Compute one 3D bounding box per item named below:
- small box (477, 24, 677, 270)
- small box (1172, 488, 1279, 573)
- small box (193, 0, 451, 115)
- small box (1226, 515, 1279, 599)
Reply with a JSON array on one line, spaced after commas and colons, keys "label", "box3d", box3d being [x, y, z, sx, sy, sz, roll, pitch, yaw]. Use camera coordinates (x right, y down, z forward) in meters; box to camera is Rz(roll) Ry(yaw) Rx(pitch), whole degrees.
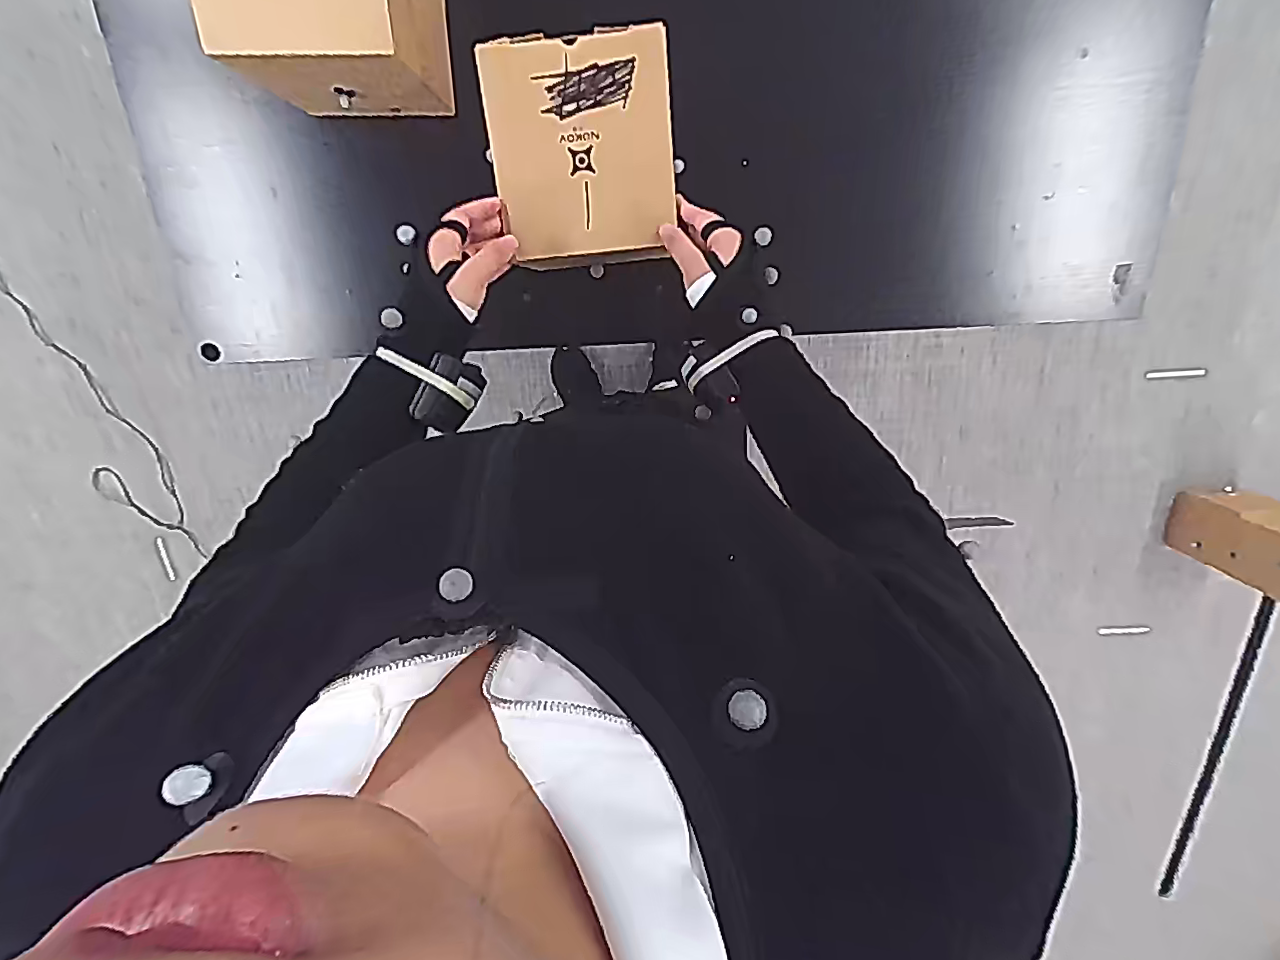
[{"label": "small box", "box3d": [-0.054, -0.324, 0.563, 0.168, 0.176, 0.179, -5, 108, 2]}, {"label": "small box", "box3d": [1.620, 0.134, 1.473, 0.168, 0.176, 0.179, -4, 108, 1]}, {"label": "small box", "box3d": [-0.293, -0.471, 0.516, 0.168, 0.176, 0.179, -1, 108, 0]}, {"label": "small box", "box3d": [1.618, 0.188, 1.318, 0.179, 0.176, 0.168, -5, 109, 1]}]
